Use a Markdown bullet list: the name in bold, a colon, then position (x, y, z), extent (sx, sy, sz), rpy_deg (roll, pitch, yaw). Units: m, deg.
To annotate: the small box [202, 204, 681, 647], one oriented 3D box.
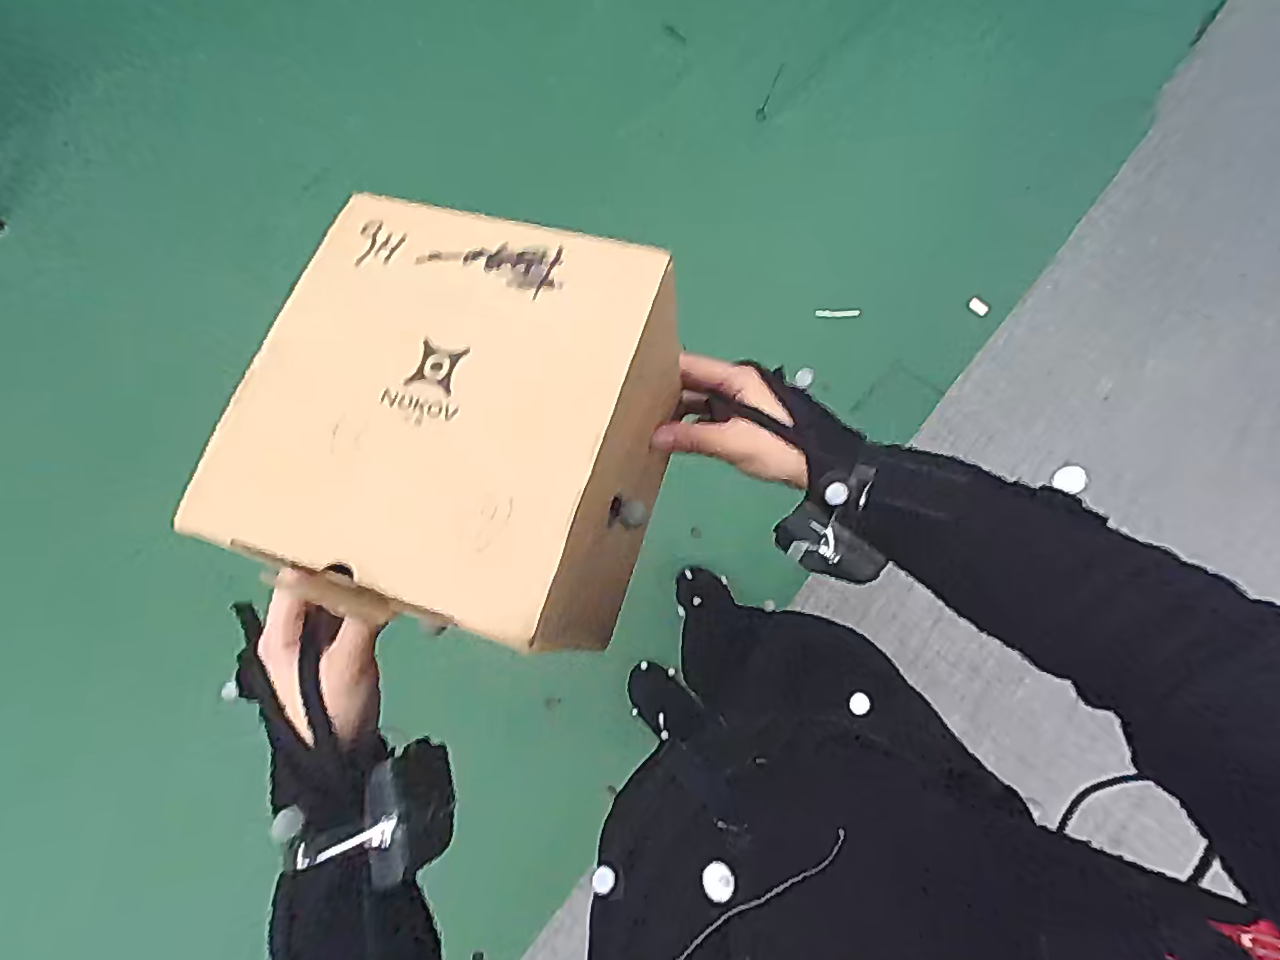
- **small box**: position (-0.077, -0.016, 0.311), extent (0.168, 0.176, 0.179), rpy_deg (16, 76, 11)
